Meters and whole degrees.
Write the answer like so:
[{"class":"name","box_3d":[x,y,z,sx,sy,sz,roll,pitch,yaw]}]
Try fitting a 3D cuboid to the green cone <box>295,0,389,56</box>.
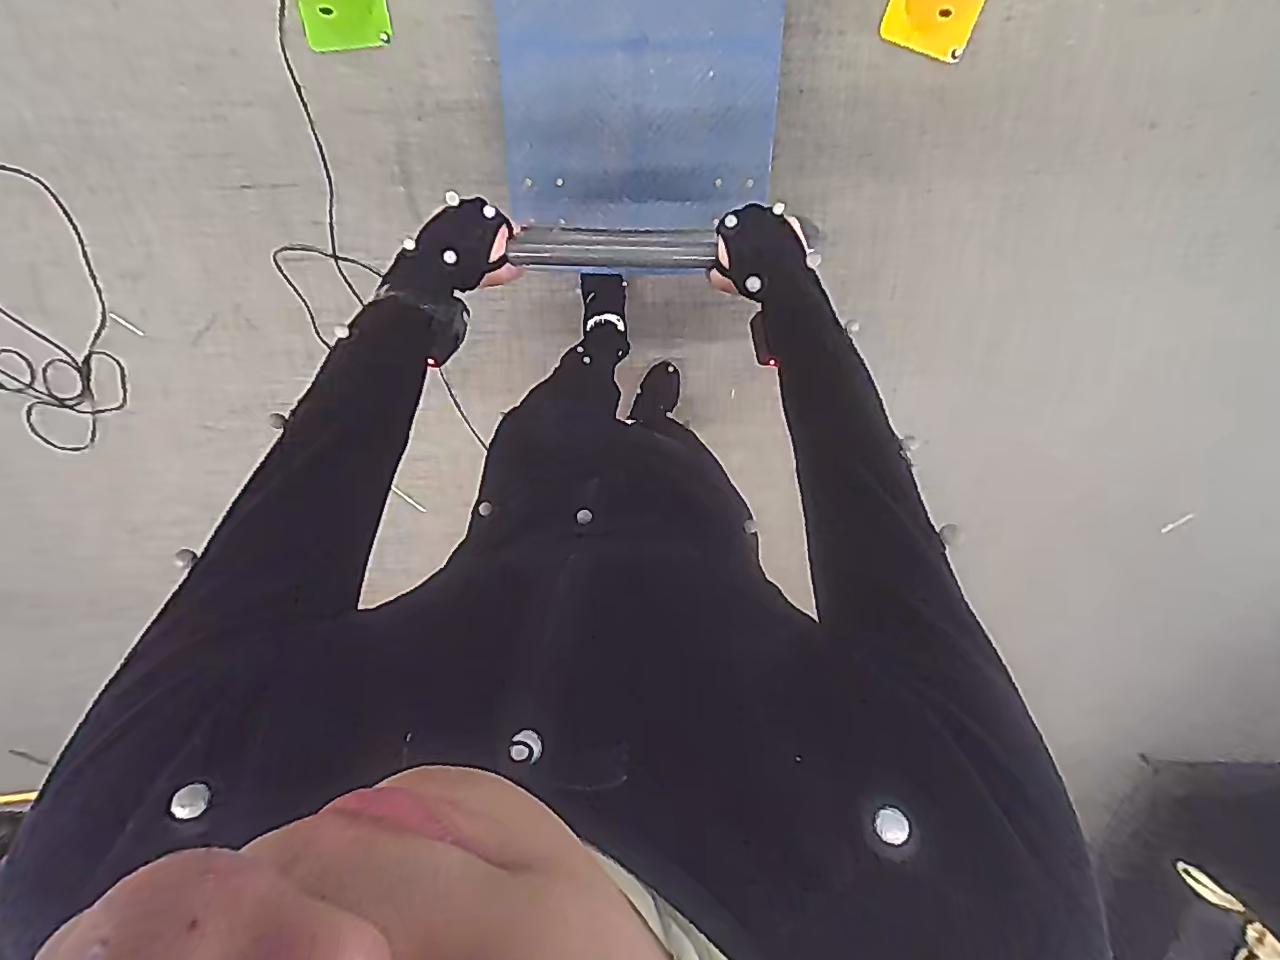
[{"class":"green cone","box_3d":[-0.685,-1.012,1.050,0.202,0.368,0.200,-3,113,5]}]
